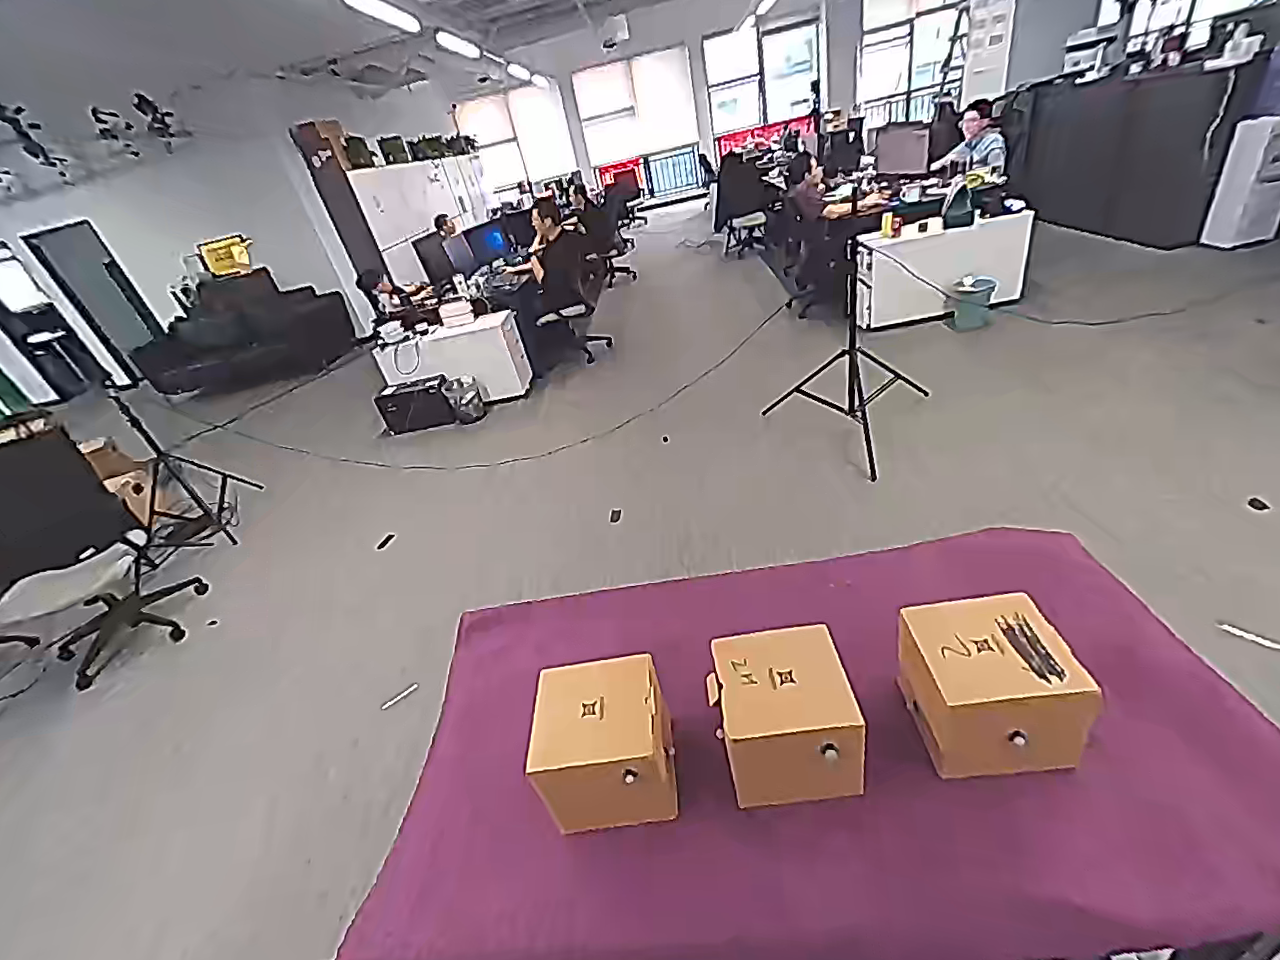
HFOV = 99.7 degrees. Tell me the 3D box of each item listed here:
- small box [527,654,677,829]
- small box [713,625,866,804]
[{"bbox_3d":[-0.049,0.392,0.808,0.179,0.176,0.168,-11,32,4],"label":"small box"},{"bbox_3d":[0.211,0.340,0.784,0.179,0.176,0.168,-11,31,6],"label":"small box"}]
